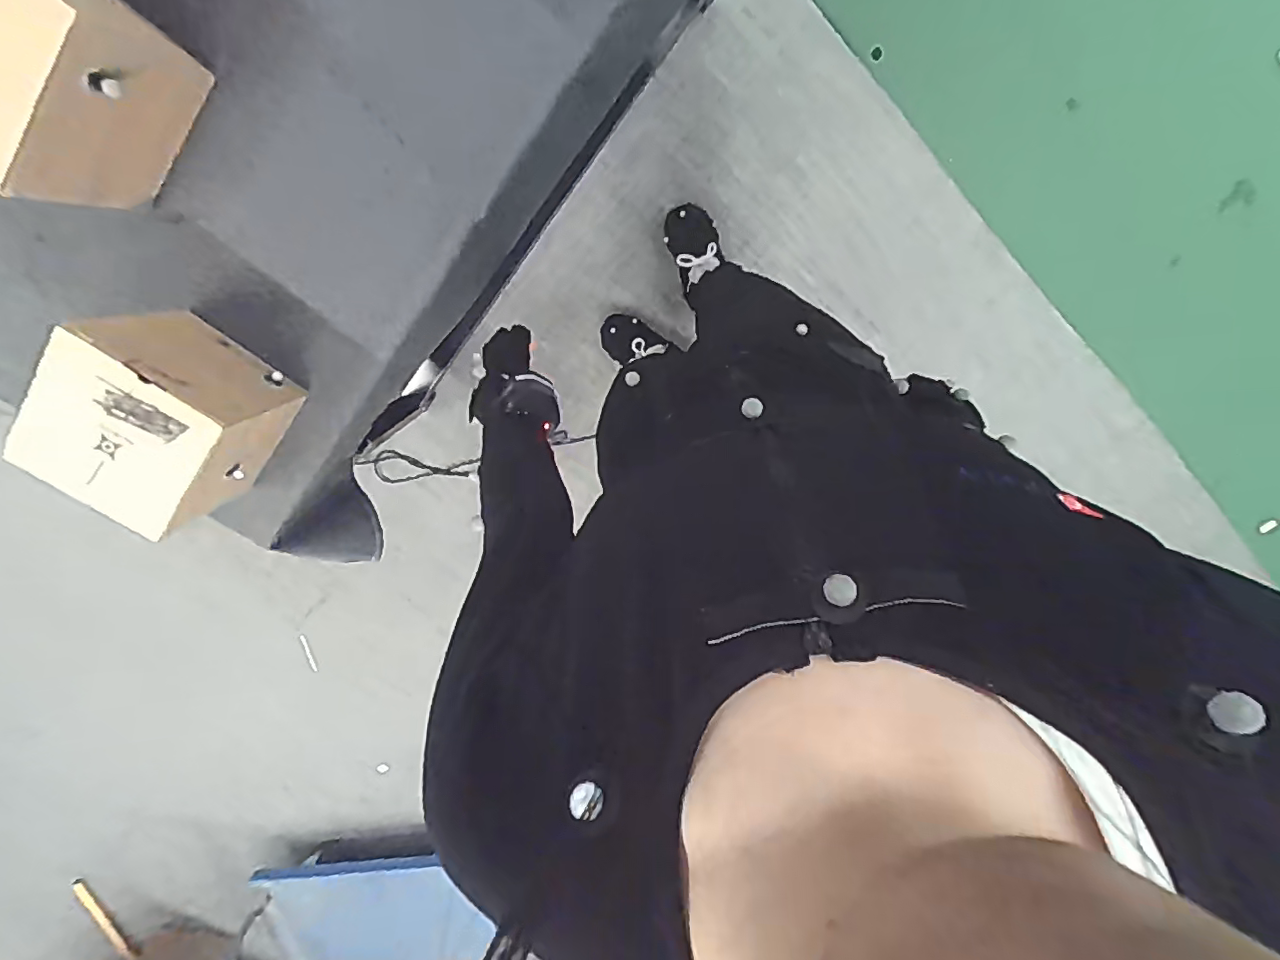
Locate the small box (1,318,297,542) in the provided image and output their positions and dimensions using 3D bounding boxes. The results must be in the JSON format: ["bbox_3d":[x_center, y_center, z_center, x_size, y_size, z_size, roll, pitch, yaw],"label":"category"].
[{"bbox_3d":[-0.545,-0.069,0.630,0.168,0.176,0.179,37,106,-15],"label":"small box"}]

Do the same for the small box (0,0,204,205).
[{"bbox_3d":[-0.565,-0.389,0.503,0.168,0.176,0.179,39,105,-16],"label":"small box"}]
